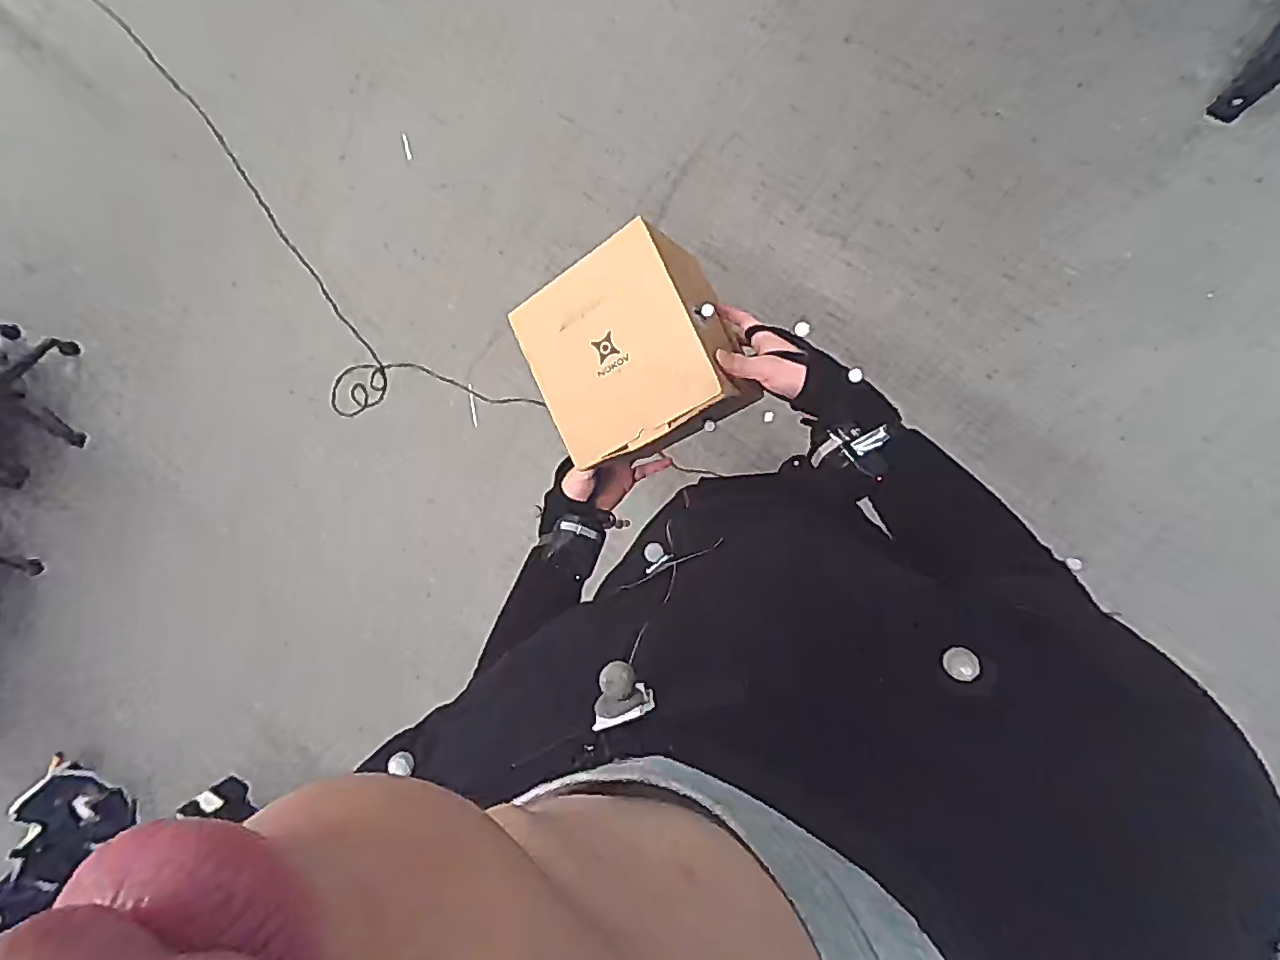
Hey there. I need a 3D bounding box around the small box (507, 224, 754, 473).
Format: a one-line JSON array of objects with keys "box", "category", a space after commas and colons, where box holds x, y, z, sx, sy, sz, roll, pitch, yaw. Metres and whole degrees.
[{"box": [0.000, -0.126, 0.569, 0.168, 0.176, 0.179, -26, 85, 26], "category": "small box"}]
